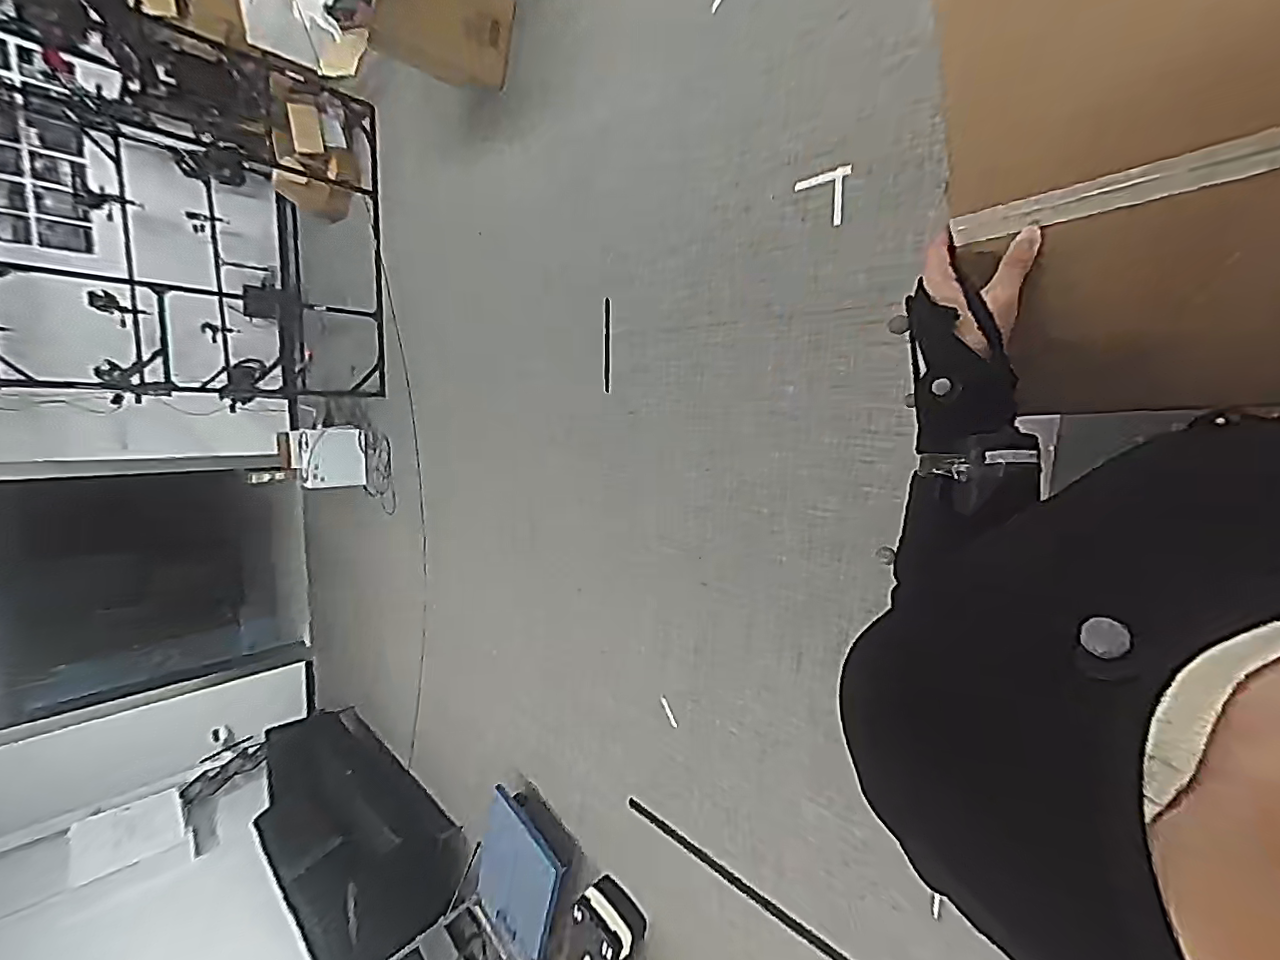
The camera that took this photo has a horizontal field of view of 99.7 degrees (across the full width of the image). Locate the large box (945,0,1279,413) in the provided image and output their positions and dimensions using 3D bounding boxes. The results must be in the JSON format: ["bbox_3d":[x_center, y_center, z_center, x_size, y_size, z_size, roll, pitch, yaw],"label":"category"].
[{"bbox_3d":[0.486,-0.258,0.372,0.408,0.320,0.320,2,121,45],"label":"large box"}]
